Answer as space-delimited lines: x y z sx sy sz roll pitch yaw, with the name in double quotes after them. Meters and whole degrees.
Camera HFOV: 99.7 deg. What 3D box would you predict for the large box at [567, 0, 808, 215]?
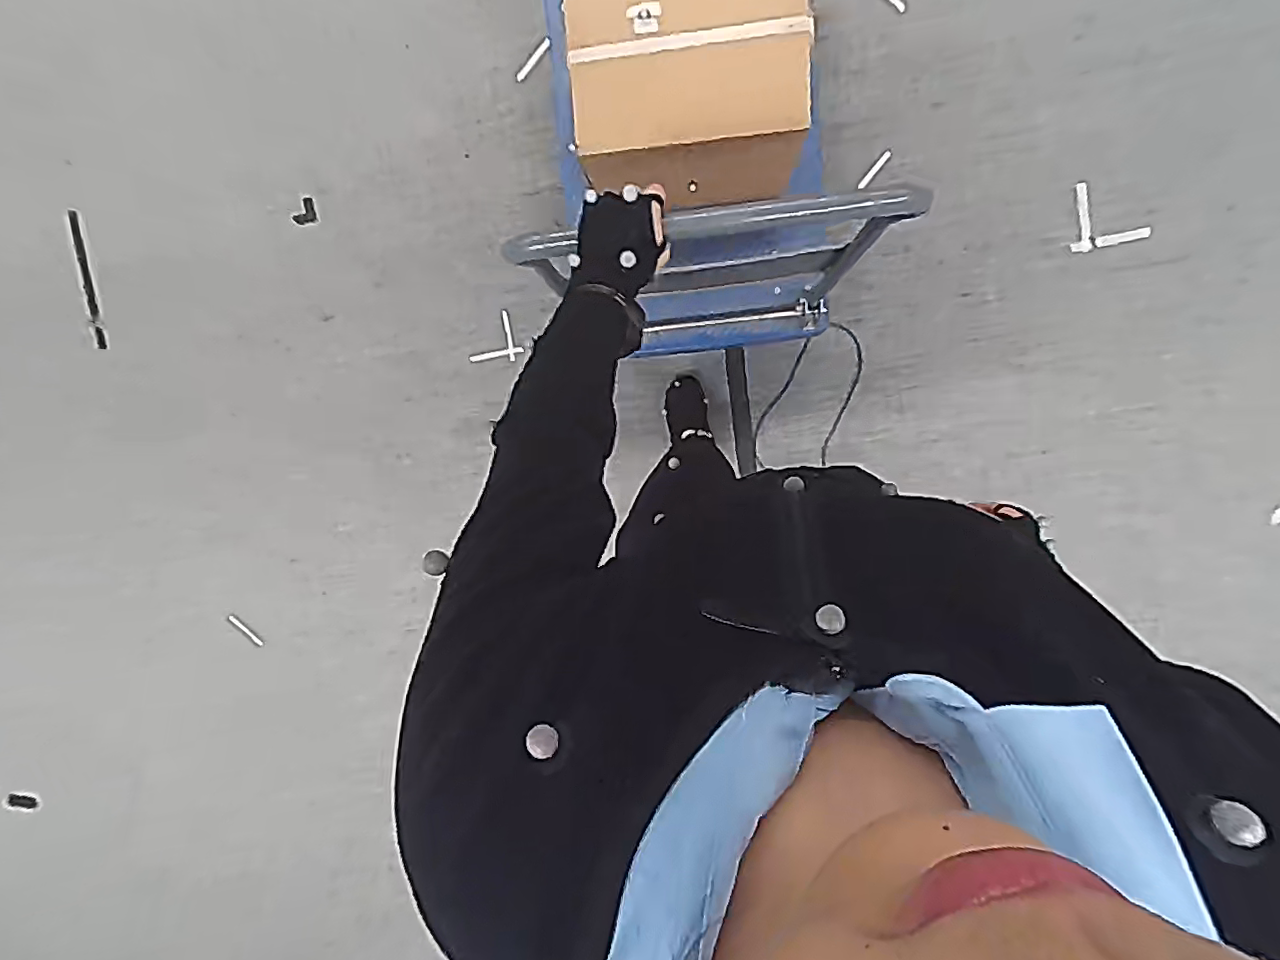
0.098 -0.757 1.071 0.408 0.320 0.320 -3 96 8 "large box"
